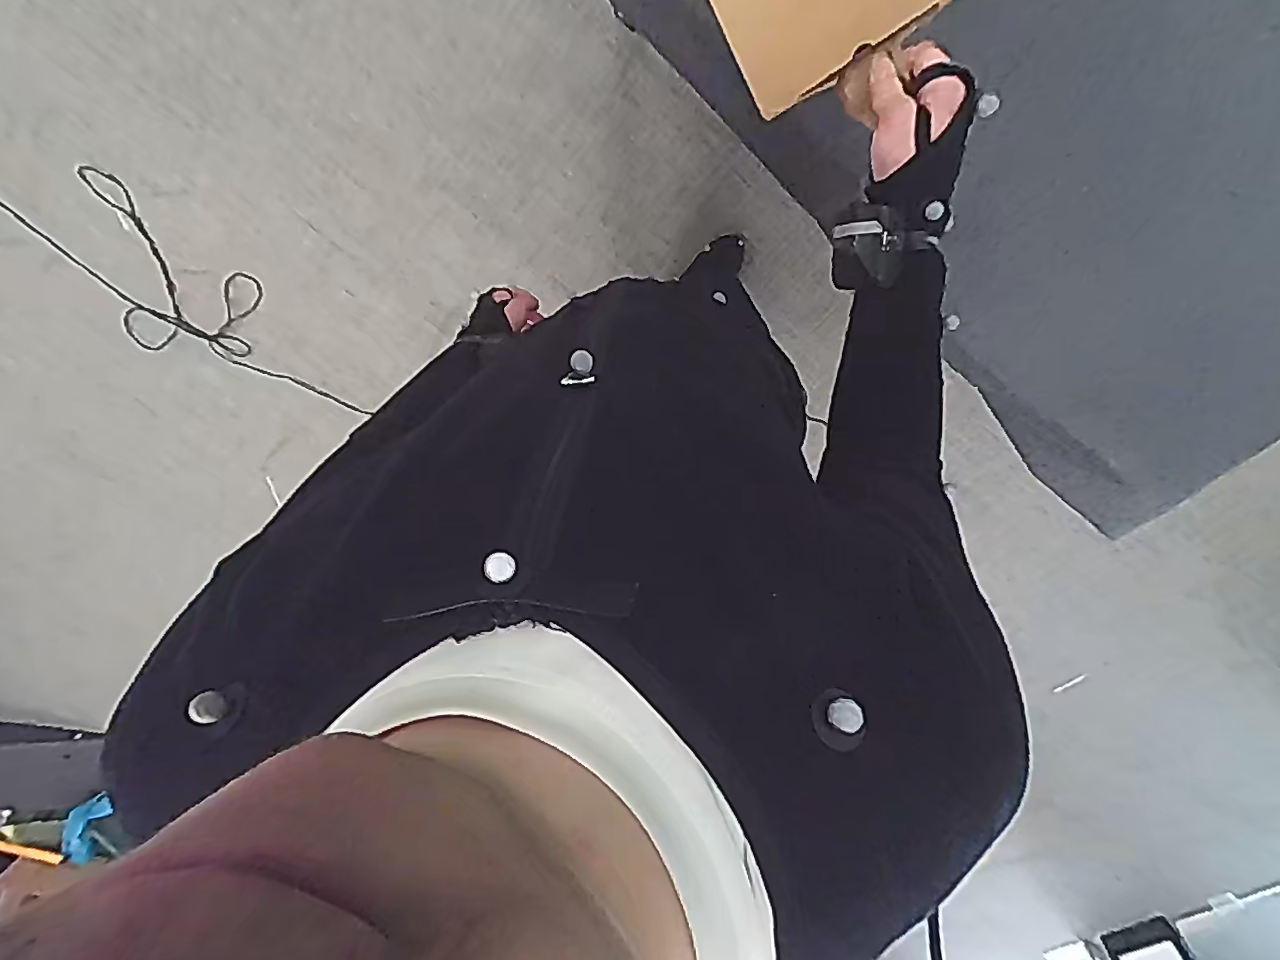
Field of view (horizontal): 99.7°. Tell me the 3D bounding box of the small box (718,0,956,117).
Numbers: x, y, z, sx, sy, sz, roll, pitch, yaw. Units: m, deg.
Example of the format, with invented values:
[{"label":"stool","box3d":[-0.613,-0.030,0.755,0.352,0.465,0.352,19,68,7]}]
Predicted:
[{"label":"small box","box3d":[0.153,-0.432,0.415,0.168,0.176,0.179,-15,124,38]}]
